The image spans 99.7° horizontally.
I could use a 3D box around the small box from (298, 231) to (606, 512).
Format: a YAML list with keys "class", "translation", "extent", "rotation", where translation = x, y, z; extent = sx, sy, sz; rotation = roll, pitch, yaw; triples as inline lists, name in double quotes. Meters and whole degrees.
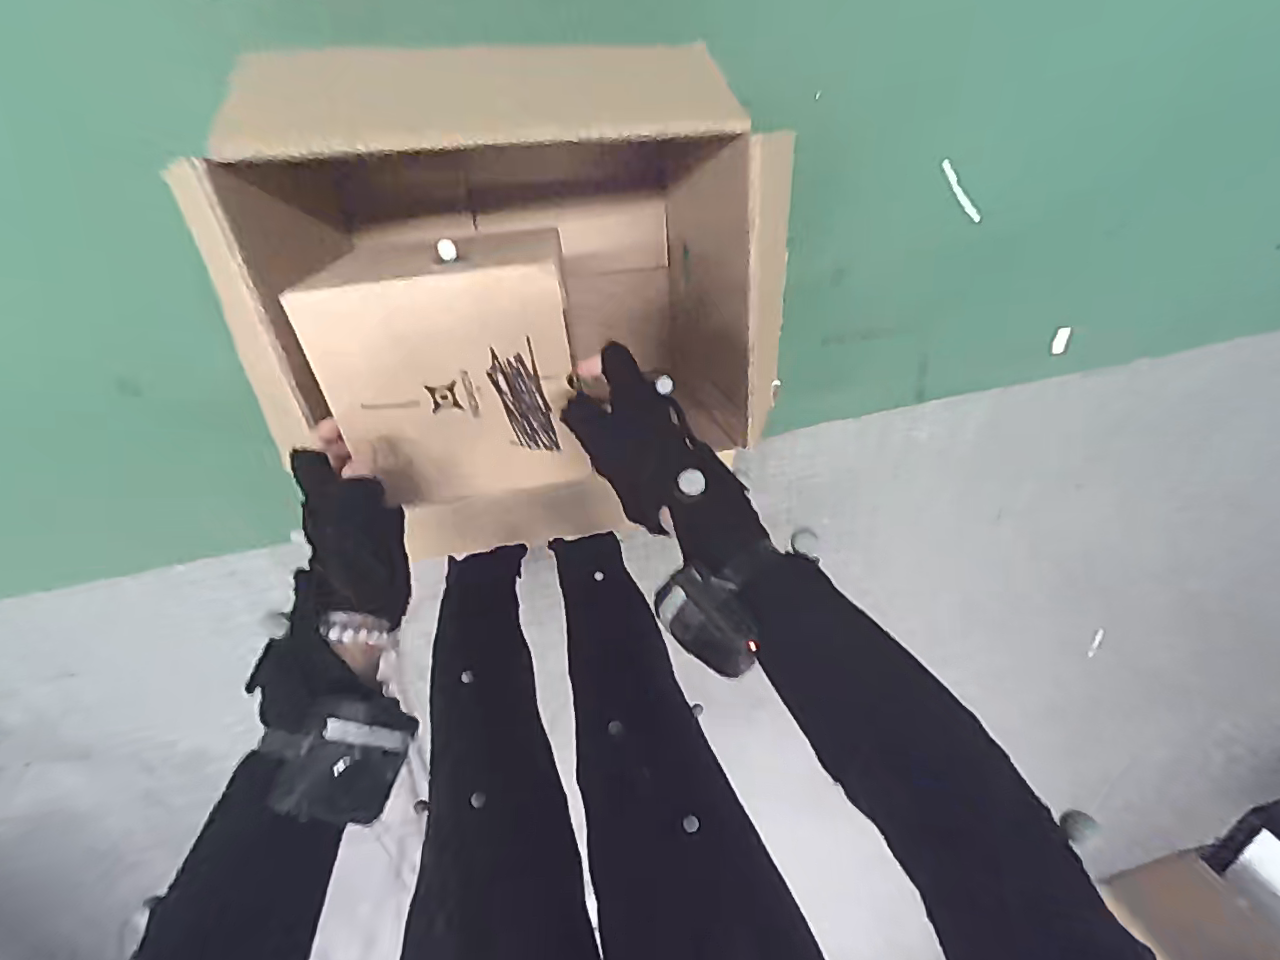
- class: "small box"
  translation: [-0.130, -0.098, 0.443]
  extent: [0.179, 0.176, 0.168]
  rotation: [-8, 123, -4]
